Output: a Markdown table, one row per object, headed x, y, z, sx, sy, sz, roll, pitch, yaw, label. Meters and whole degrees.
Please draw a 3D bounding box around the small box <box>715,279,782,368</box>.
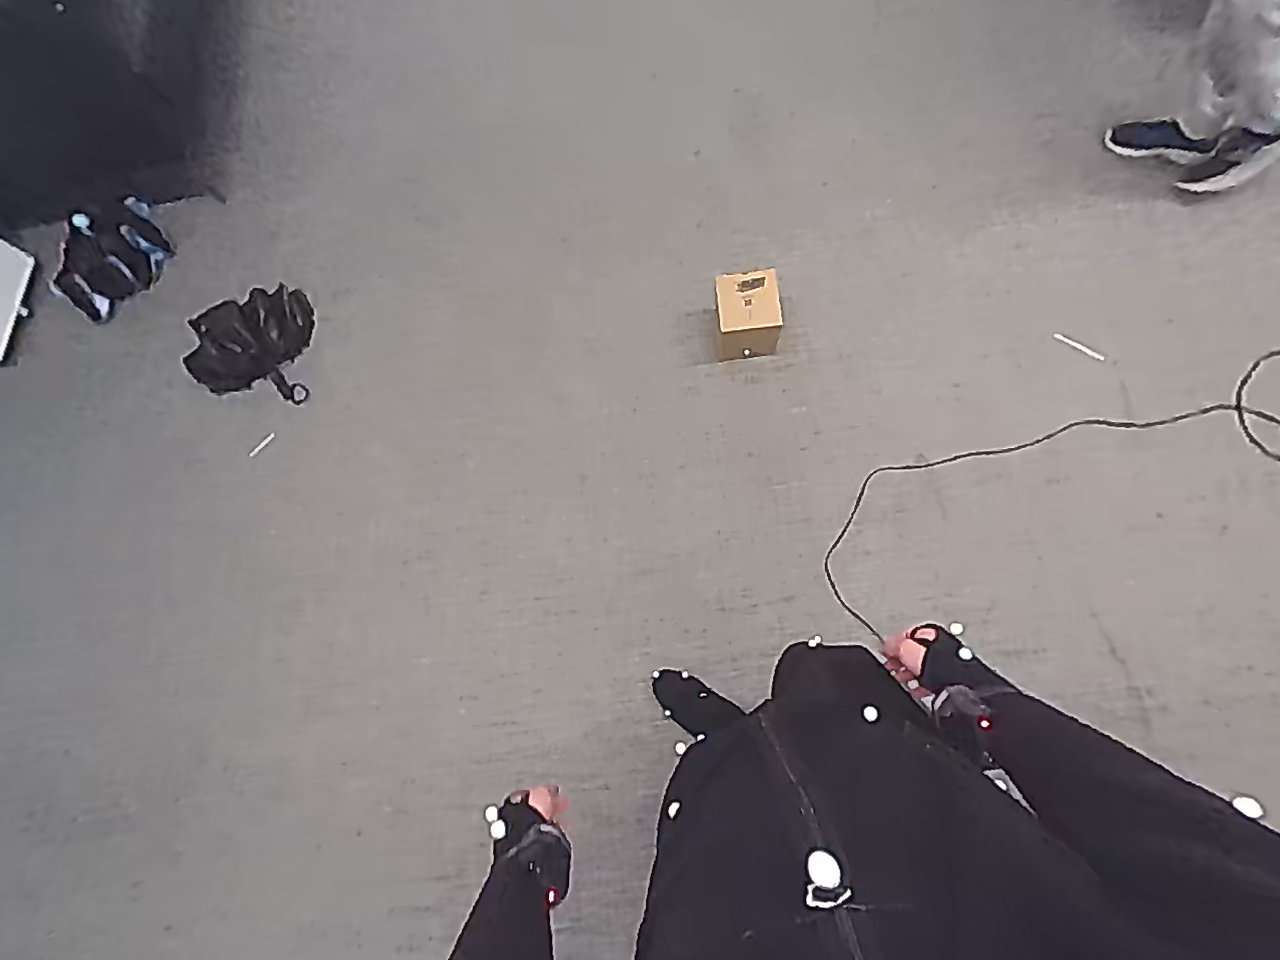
| x | y | z | sx | sy | sz | roll | pitch | yaw | label |
| --- | --- | --- | --- | --- | --- | --- | --- | --- | --- |
| 0.305 | -0.443 | 1.551 | 0.168 | 0.176 | 0.179 | -6 | 75 | 7 | small box |
